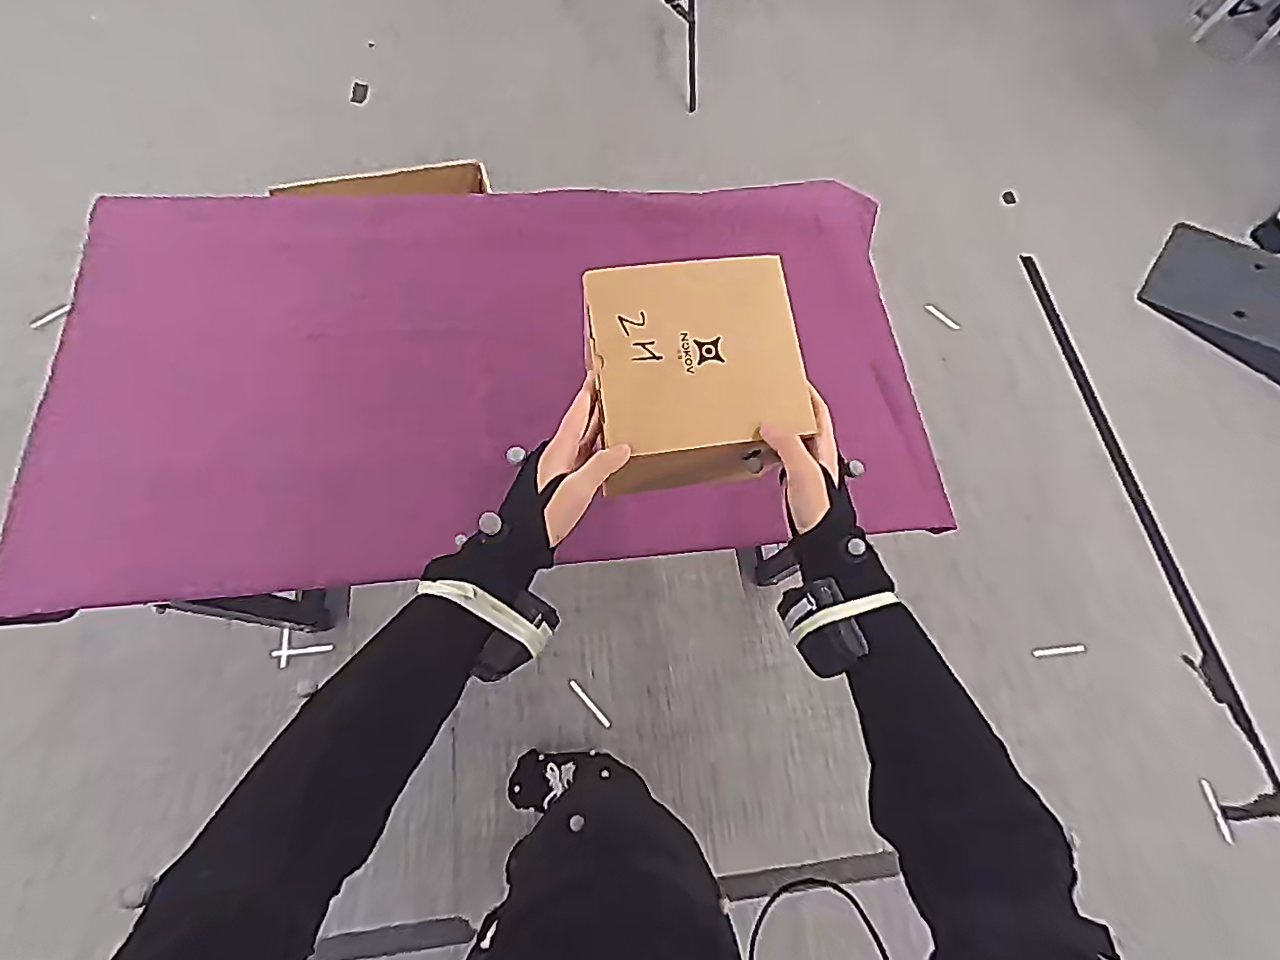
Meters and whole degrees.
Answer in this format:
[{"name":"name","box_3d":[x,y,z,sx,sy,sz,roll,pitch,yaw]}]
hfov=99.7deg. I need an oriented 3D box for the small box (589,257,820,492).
[{"name":"small box","box_3d":[0.045,-0.089,0.524,0.179,0.176,0.168,-8,79,-6]}]
